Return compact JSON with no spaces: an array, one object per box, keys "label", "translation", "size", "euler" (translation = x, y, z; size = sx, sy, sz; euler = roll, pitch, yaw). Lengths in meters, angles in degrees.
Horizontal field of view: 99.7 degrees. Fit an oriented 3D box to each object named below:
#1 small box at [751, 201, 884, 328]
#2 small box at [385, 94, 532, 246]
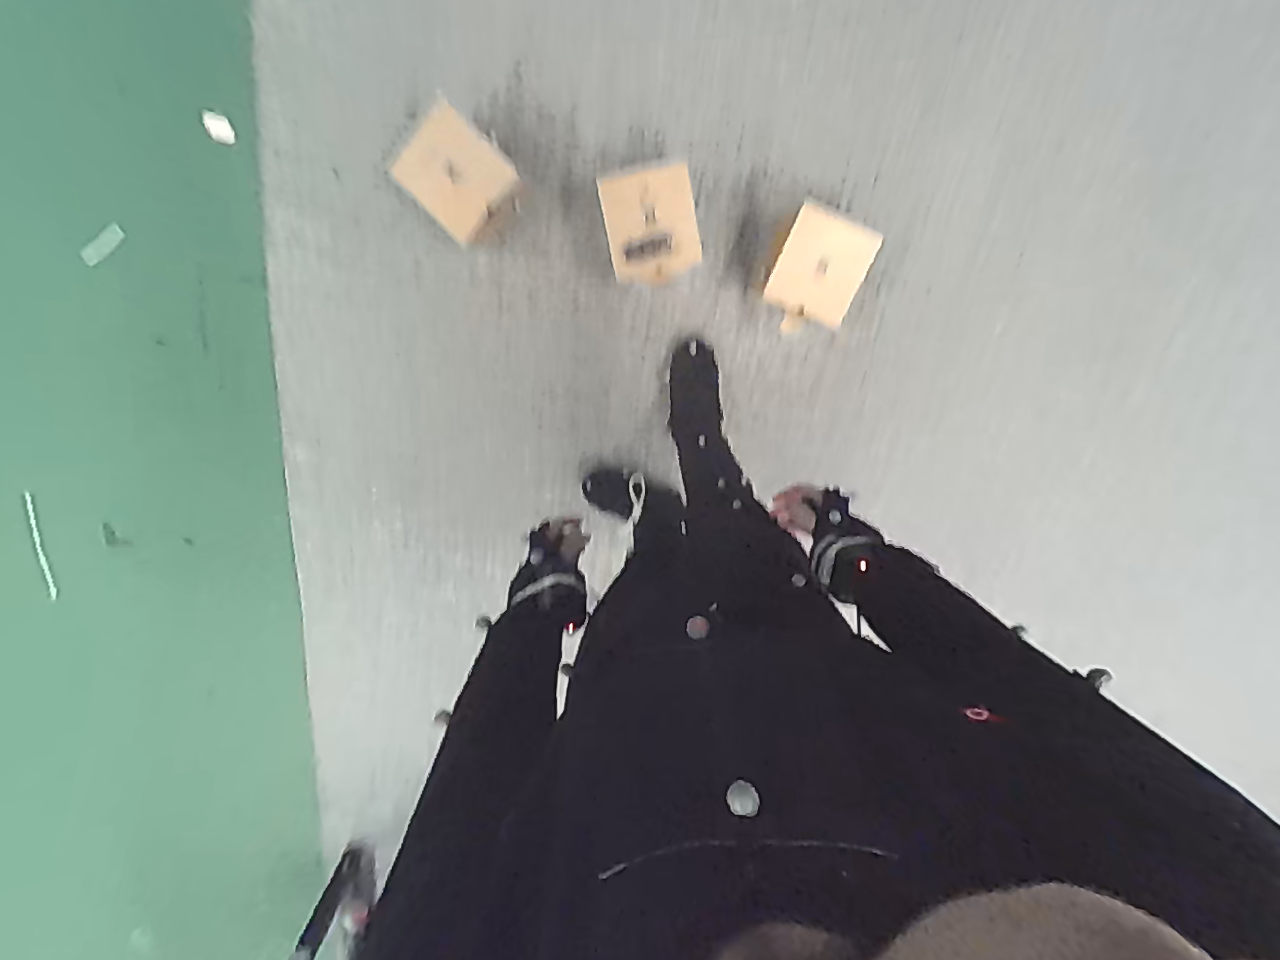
[{"label":"small box","translation":[0.336,-0.420,1.069],"size":[0.168,0.176,0.179],"euler":[20,110,-7]},{"label":"small box","translation":[-0.328,-0.566,1.017],"size":[0.179,0.176,0.168],"euler":[43,104,-13]}]
